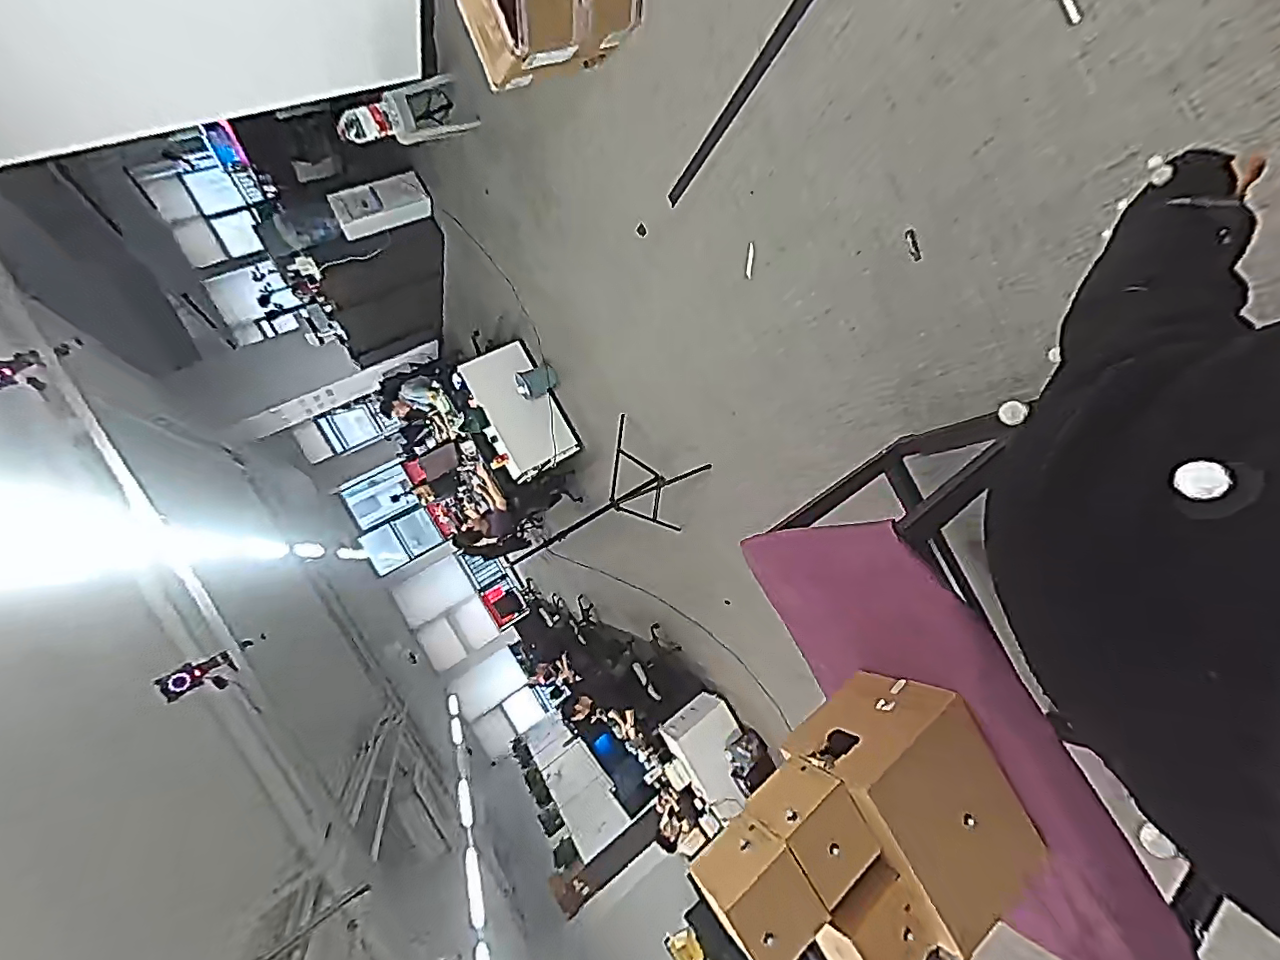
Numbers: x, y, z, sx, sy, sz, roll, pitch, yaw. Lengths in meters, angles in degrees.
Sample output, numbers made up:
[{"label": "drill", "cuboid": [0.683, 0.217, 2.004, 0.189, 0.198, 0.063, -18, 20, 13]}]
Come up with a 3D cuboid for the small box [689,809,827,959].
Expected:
[{"label": "small box", "cuboid": [0.237, 0.817, 1.083, 0.179, 0.176, 0.168, 59, 159, -4]}]
